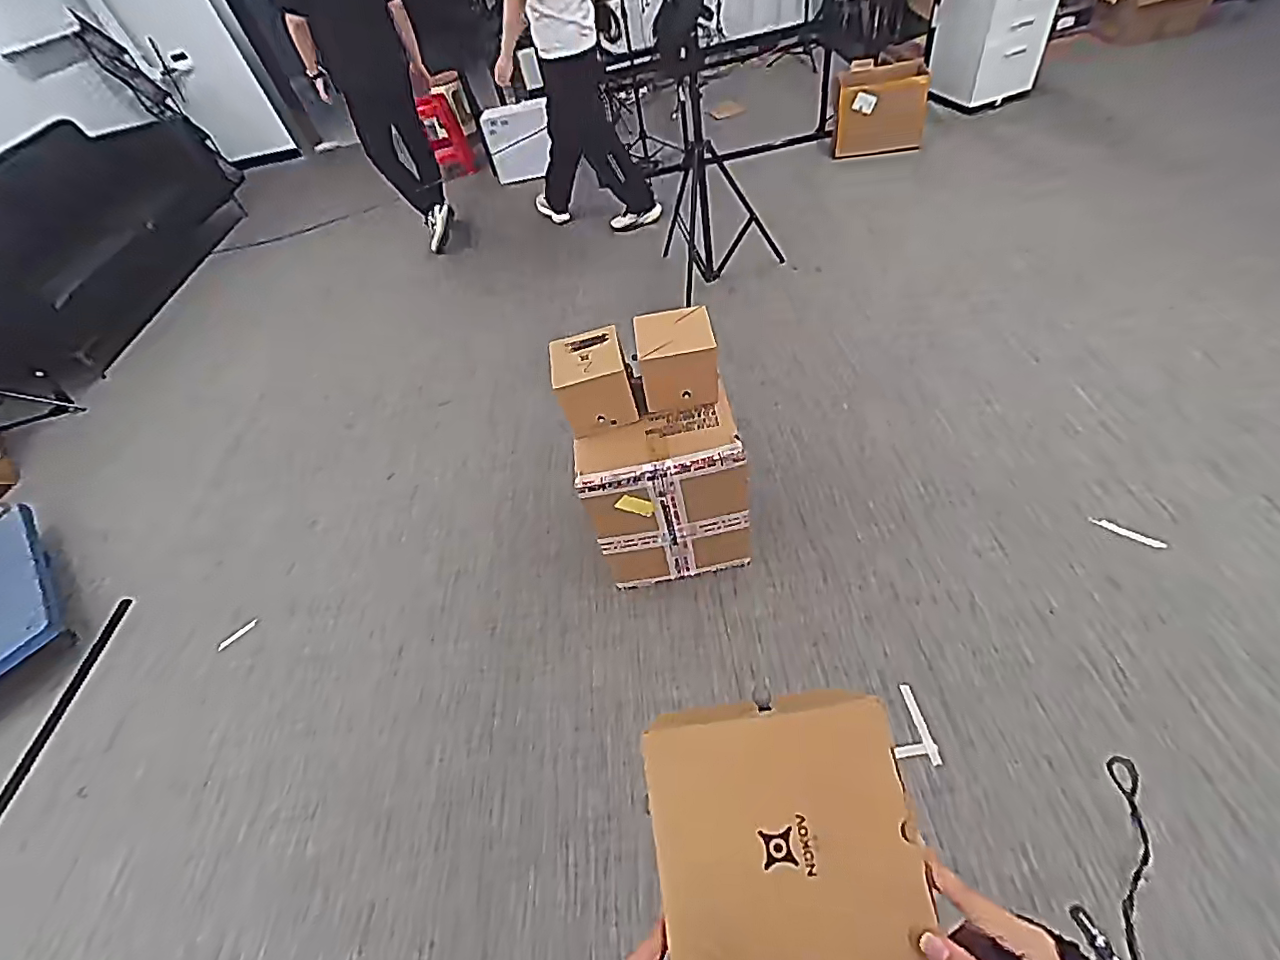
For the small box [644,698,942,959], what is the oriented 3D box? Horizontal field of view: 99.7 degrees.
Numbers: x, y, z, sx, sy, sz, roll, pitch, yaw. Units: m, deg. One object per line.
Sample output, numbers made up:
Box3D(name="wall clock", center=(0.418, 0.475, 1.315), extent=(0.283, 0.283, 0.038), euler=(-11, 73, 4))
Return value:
Box3D(name="small box", center=(0.107, 0.280, 0.448), extent=(0.179, 0.176, 0.168), euler=(-9, 69, 3))
